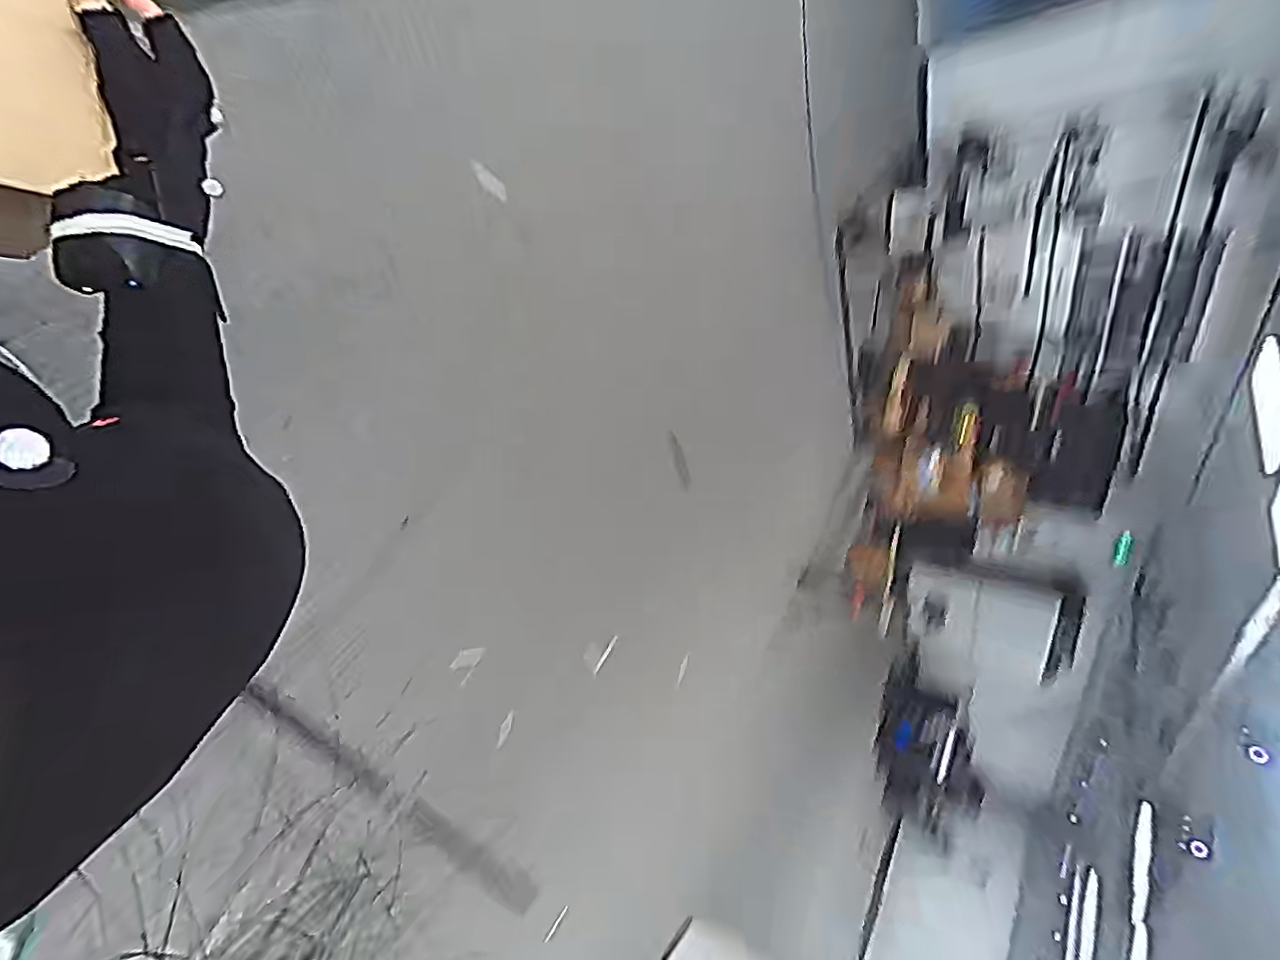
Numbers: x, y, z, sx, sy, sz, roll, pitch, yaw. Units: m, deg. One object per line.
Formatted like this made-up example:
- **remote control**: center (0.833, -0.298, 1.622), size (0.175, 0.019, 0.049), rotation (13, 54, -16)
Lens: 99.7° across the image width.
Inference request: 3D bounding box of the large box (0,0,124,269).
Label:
- **large box**: center (-0.621, -0.338, 0.306), size (0.408, 0.320, 0.320), rotation (-8, 103, -58)
